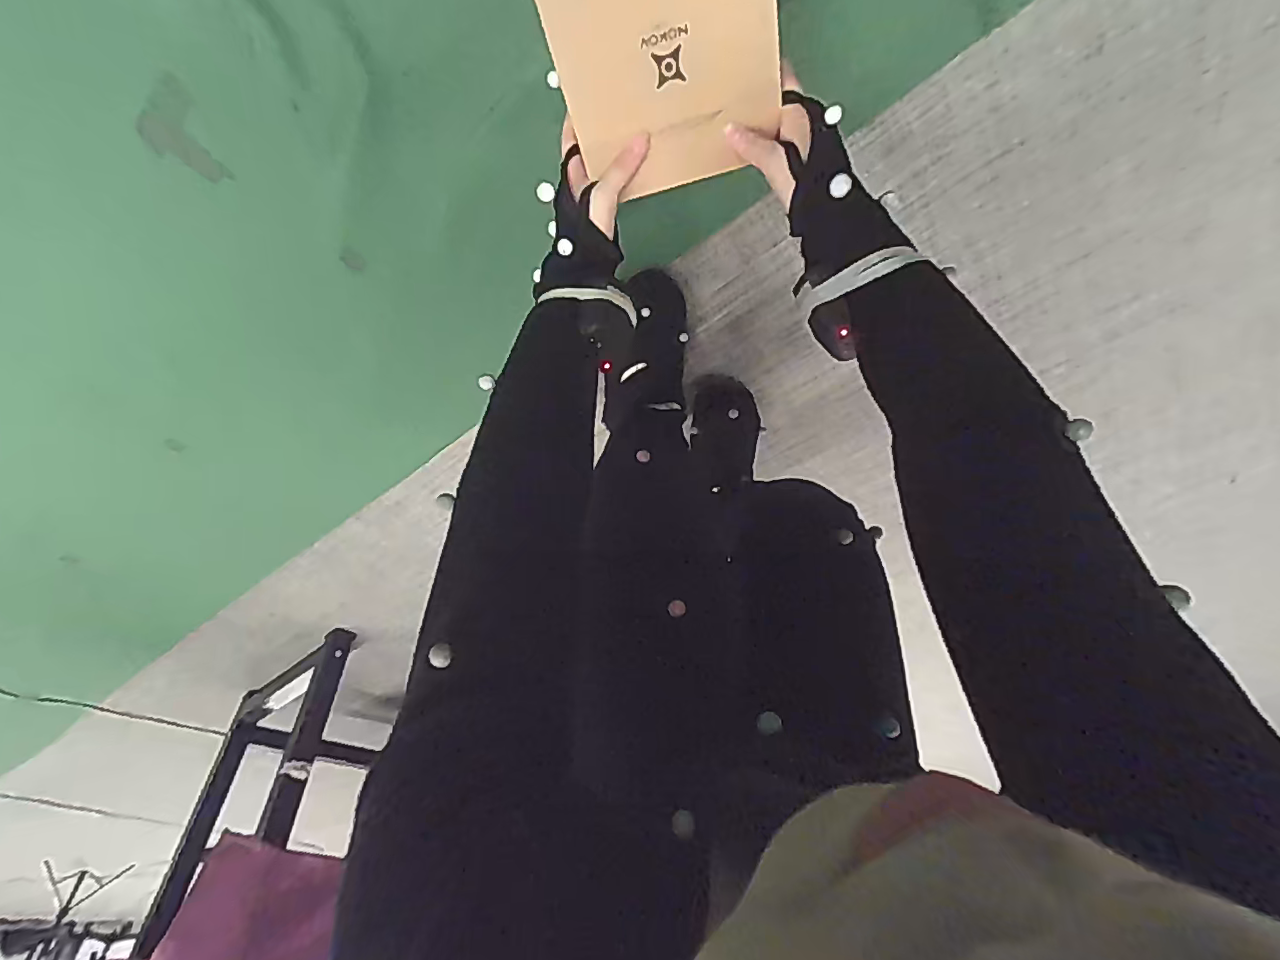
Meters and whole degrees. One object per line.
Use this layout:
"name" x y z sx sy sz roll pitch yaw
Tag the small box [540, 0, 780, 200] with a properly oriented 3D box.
"small box" 0.015 -0.376 0.460 0.168 0.176 0.179 -11 137 9
